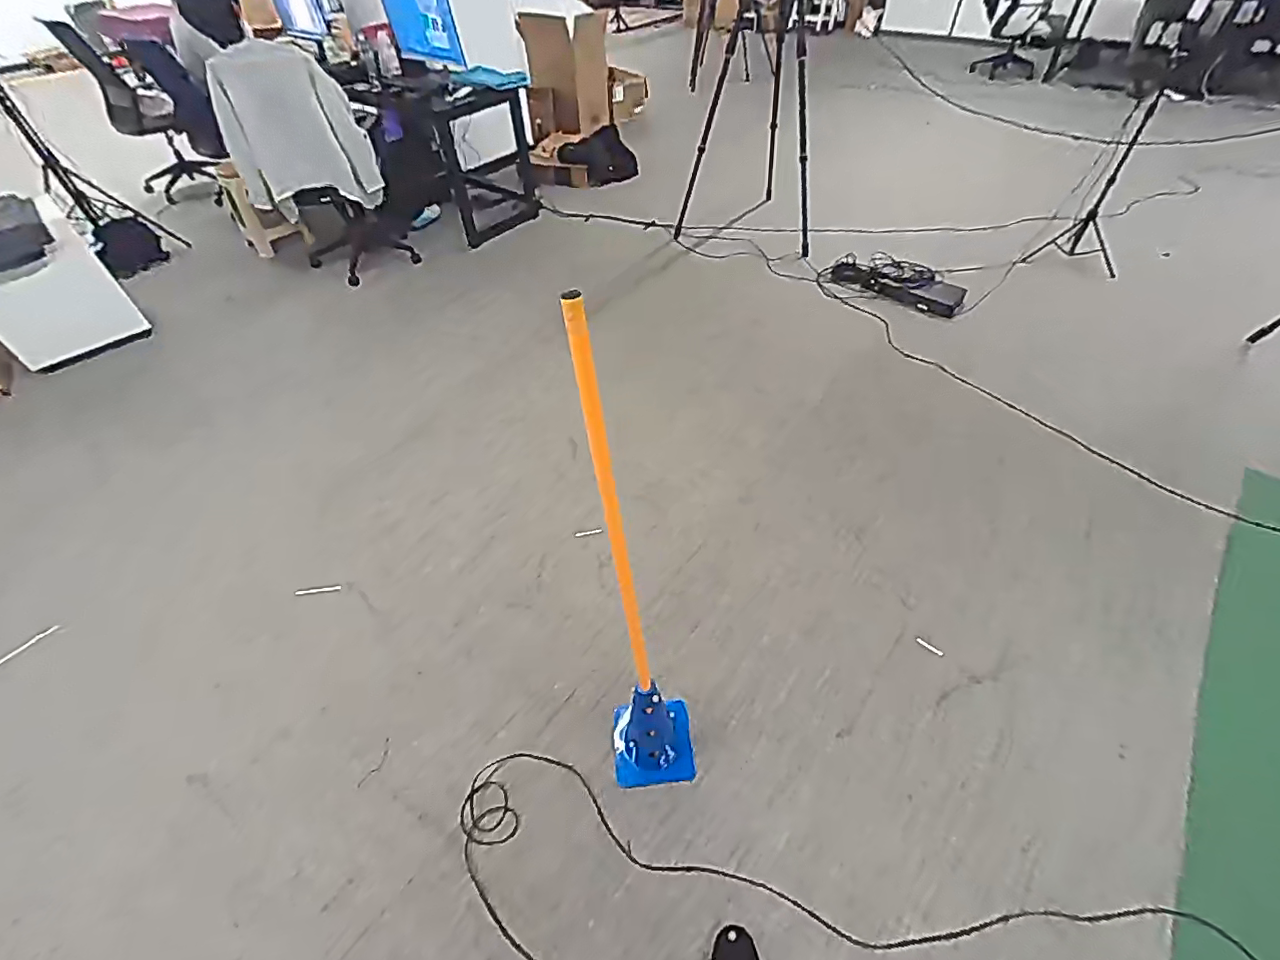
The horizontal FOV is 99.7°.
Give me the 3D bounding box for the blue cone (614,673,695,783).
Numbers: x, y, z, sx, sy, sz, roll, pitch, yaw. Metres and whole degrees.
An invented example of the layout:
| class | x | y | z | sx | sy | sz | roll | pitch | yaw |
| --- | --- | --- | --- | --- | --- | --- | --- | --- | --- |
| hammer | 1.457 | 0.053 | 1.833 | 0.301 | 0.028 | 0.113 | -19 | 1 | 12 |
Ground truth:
| class | x | y | z | sx | sy | sz | roll | pitch | yaw |
| --- | --- | --- | --- | --- | --- | --- | --- | --- | --- |
| blue cone | 0.023 | 0.552 | 1.266 | 0.192 | 0.380 | 0.193 | -7 | 45 | -2 |
